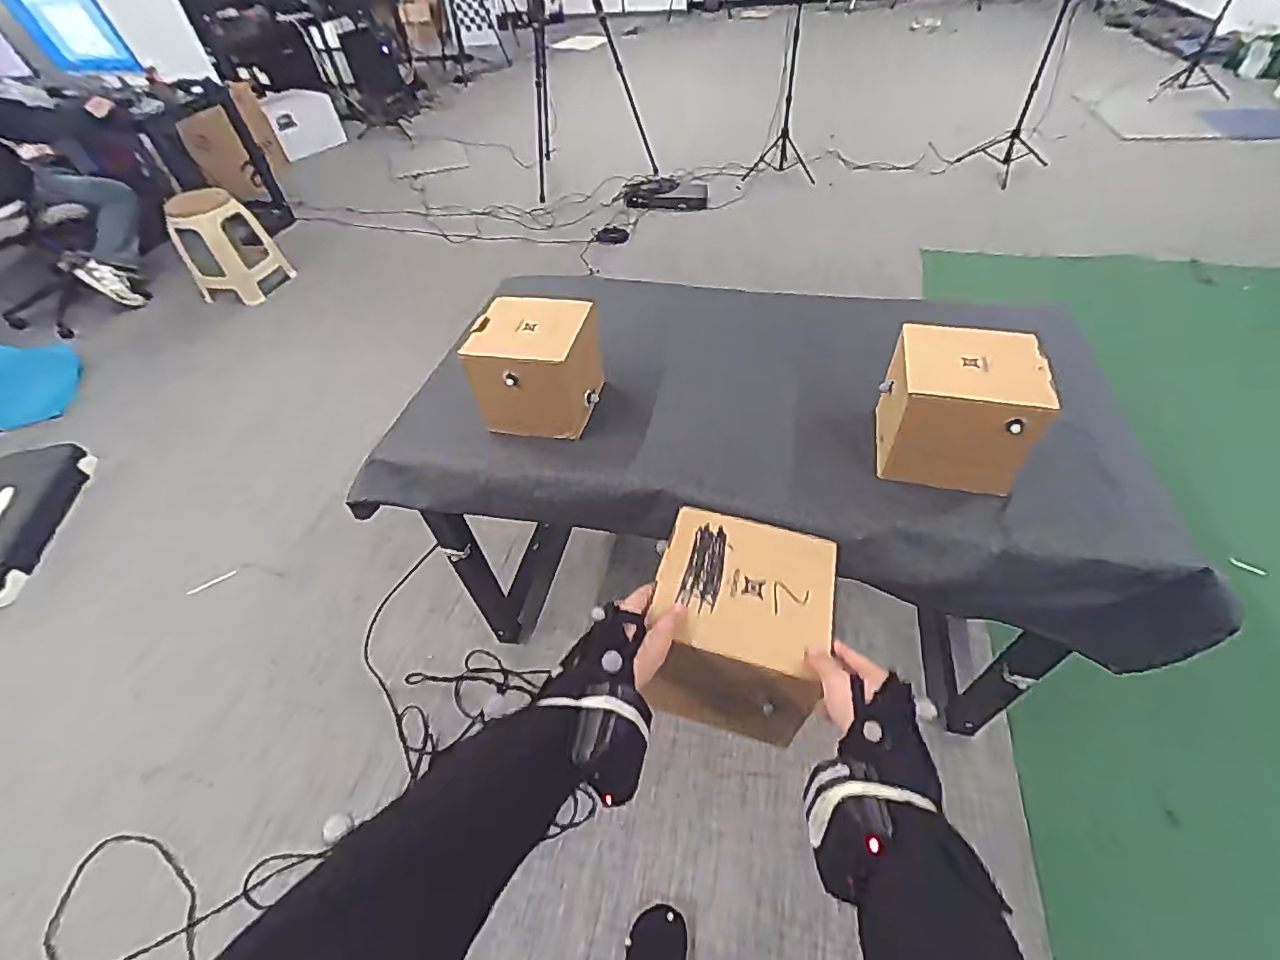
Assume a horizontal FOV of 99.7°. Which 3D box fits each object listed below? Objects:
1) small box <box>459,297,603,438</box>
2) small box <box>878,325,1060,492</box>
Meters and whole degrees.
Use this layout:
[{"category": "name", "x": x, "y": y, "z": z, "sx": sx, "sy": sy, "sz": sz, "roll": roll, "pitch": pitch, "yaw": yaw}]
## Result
[{"category": "small box", "x": -0.171, "y": -0.188, "z": 0.914, "sx": 0.179, "sy": 0.176, "sz": 0.168, "roll": 7, "pitch": 50, "yaw": 10}, {"category": "small box", "x": 0.451, "y": -0.101, "z": 0.779, "sx": 0.179, "sy": 0.176, "sz": 0.168, "roll": 9, "pitch": 49, "yaw": 13}]
